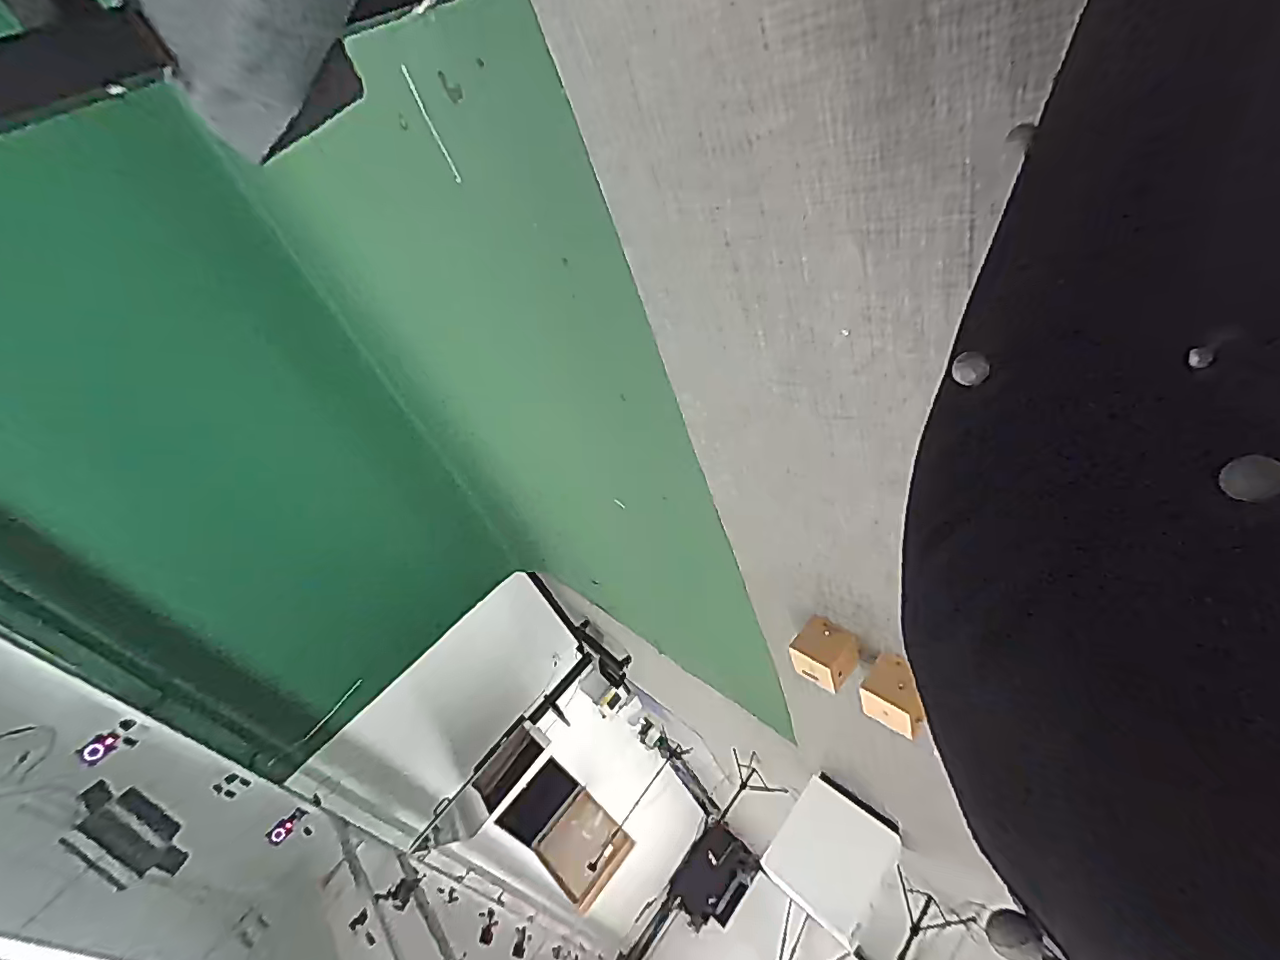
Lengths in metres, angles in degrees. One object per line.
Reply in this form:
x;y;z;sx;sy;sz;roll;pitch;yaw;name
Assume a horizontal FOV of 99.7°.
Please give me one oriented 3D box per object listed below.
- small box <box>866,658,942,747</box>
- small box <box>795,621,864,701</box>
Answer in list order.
0.859;0.714;1.751;0.168;0.176;0.179;21;145;46;small box
0.682;0.642;1.932;0.168;0.176;0.179;21;144;45;small box
